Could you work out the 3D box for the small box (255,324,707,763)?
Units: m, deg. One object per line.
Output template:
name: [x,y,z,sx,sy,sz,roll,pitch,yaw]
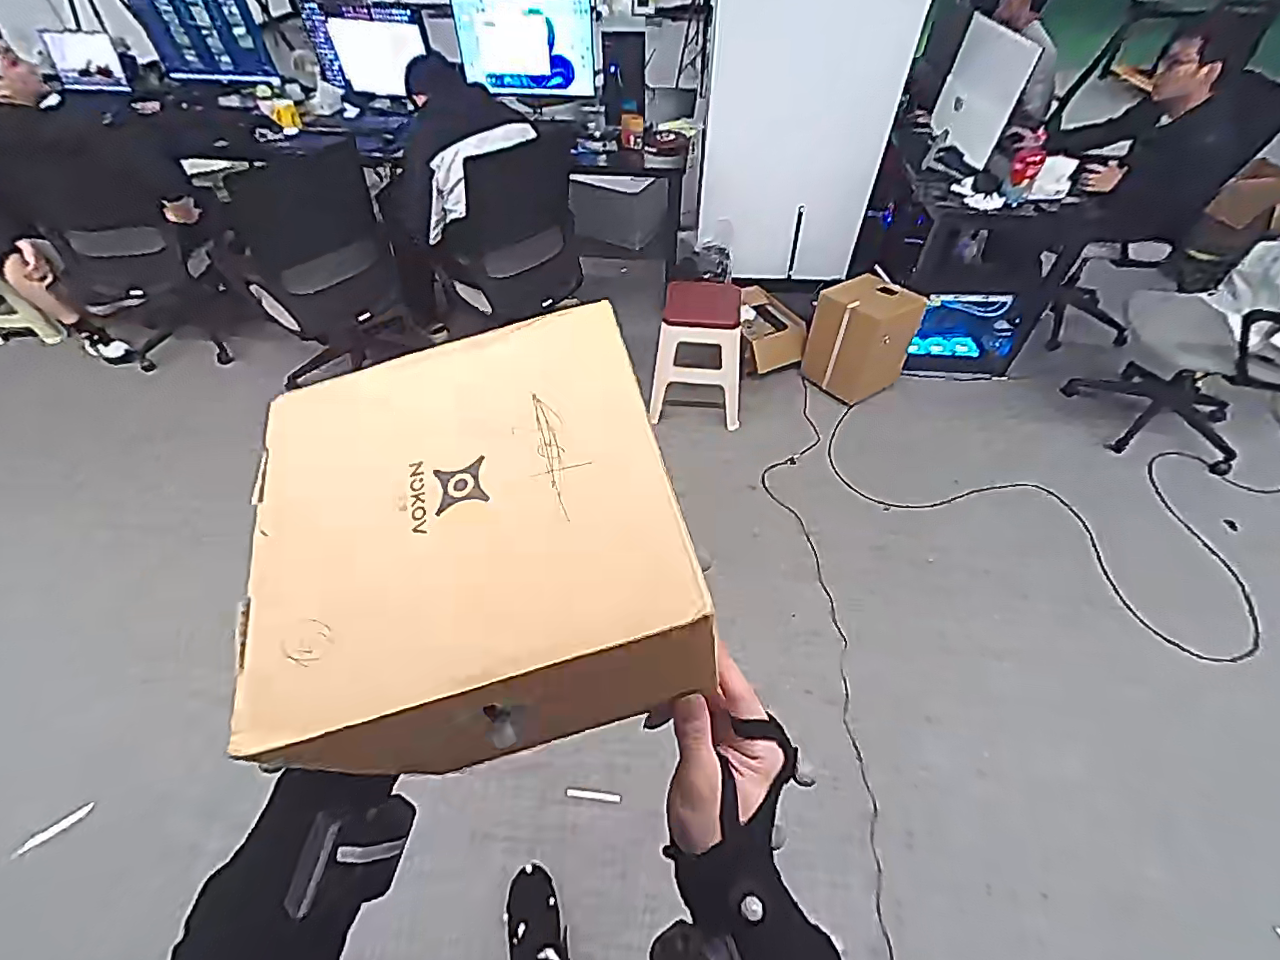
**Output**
small box: [-0.069,0.049,0.310,0.179,0.176,0.168,-17,59,-2]
